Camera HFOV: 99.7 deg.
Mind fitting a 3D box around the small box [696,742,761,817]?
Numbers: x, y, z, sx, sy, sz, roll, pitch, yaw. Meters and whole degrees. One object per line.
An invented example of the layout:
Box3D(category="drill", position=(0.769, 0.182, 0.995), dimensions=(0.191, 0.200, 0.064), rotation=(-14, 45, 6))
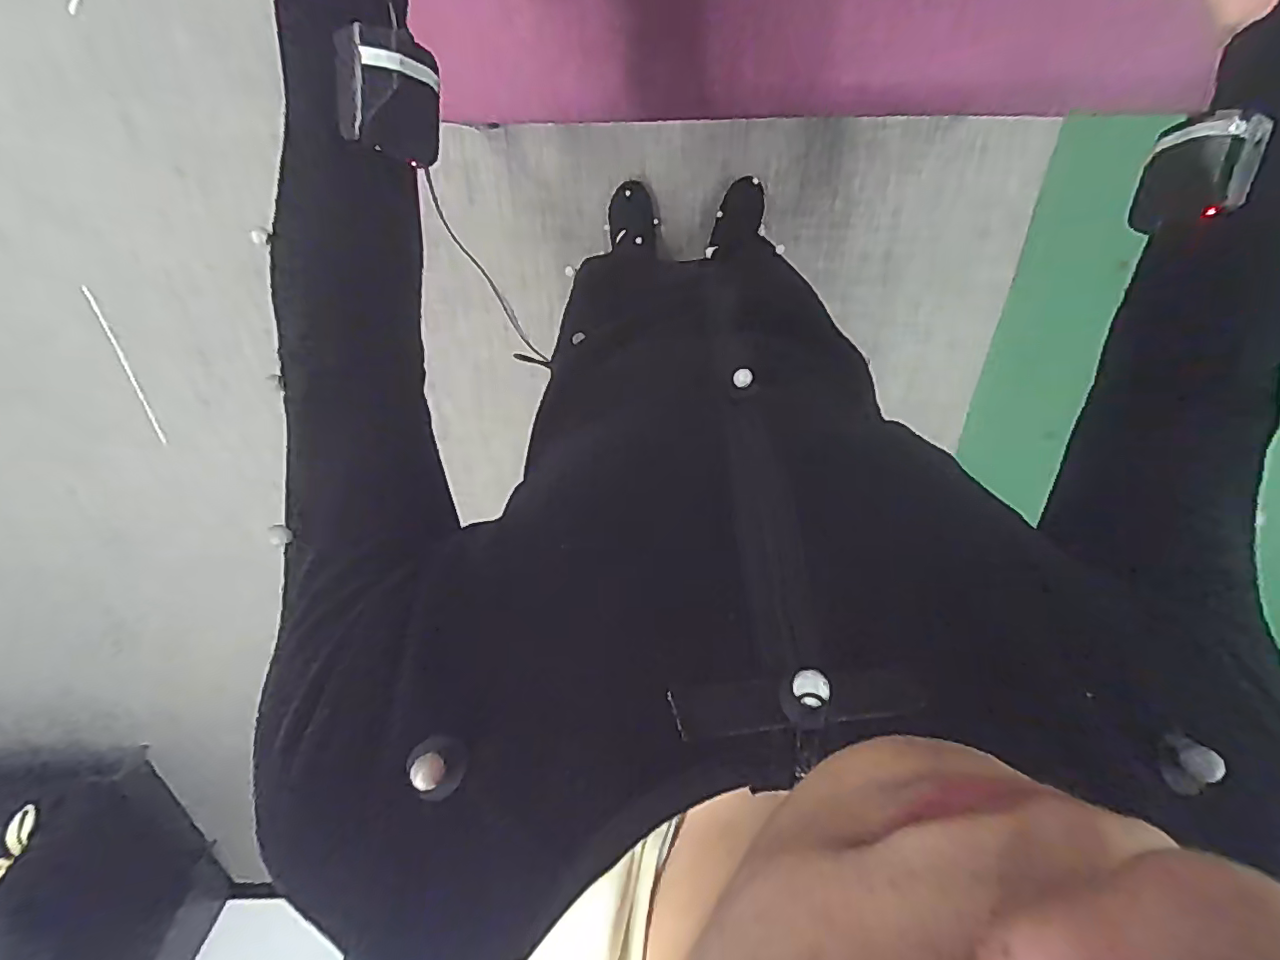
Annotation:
Box3D(category="small box", position=(0.301, 1.038, 1.881), dimensions=(0.179, 0.176, 0.168), rotation=(8, 120, -5))
